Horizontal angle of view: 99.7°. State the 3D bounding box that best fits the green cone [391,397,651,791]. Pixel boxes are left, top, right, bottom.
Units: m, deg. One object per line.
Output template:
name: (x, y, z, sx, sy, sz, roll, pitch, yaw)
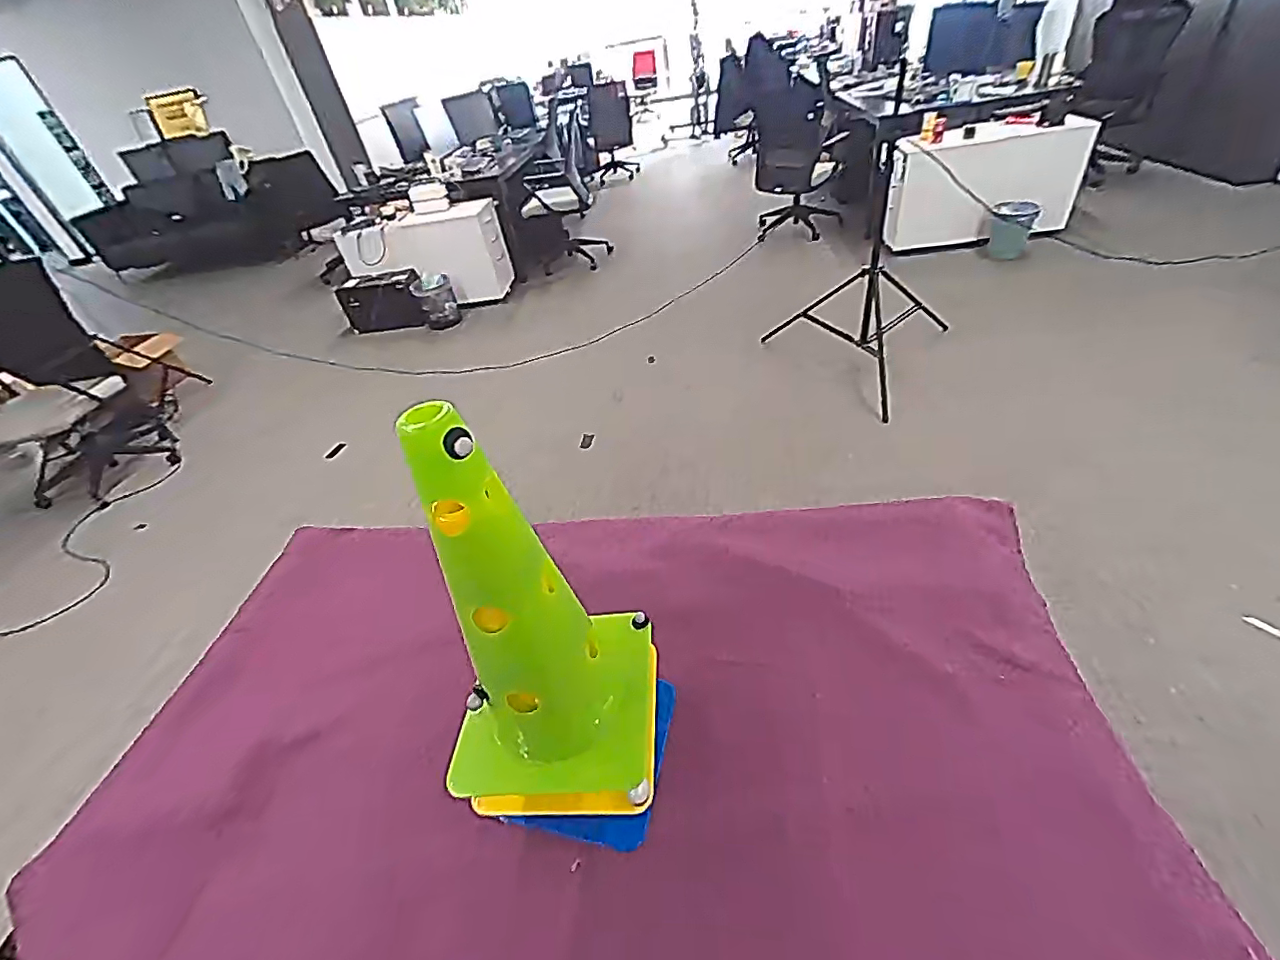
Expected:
green cone: (-0.118, 0.090, 0.473, 0.200, 0.368, 0.202, -8, 38, 7)
